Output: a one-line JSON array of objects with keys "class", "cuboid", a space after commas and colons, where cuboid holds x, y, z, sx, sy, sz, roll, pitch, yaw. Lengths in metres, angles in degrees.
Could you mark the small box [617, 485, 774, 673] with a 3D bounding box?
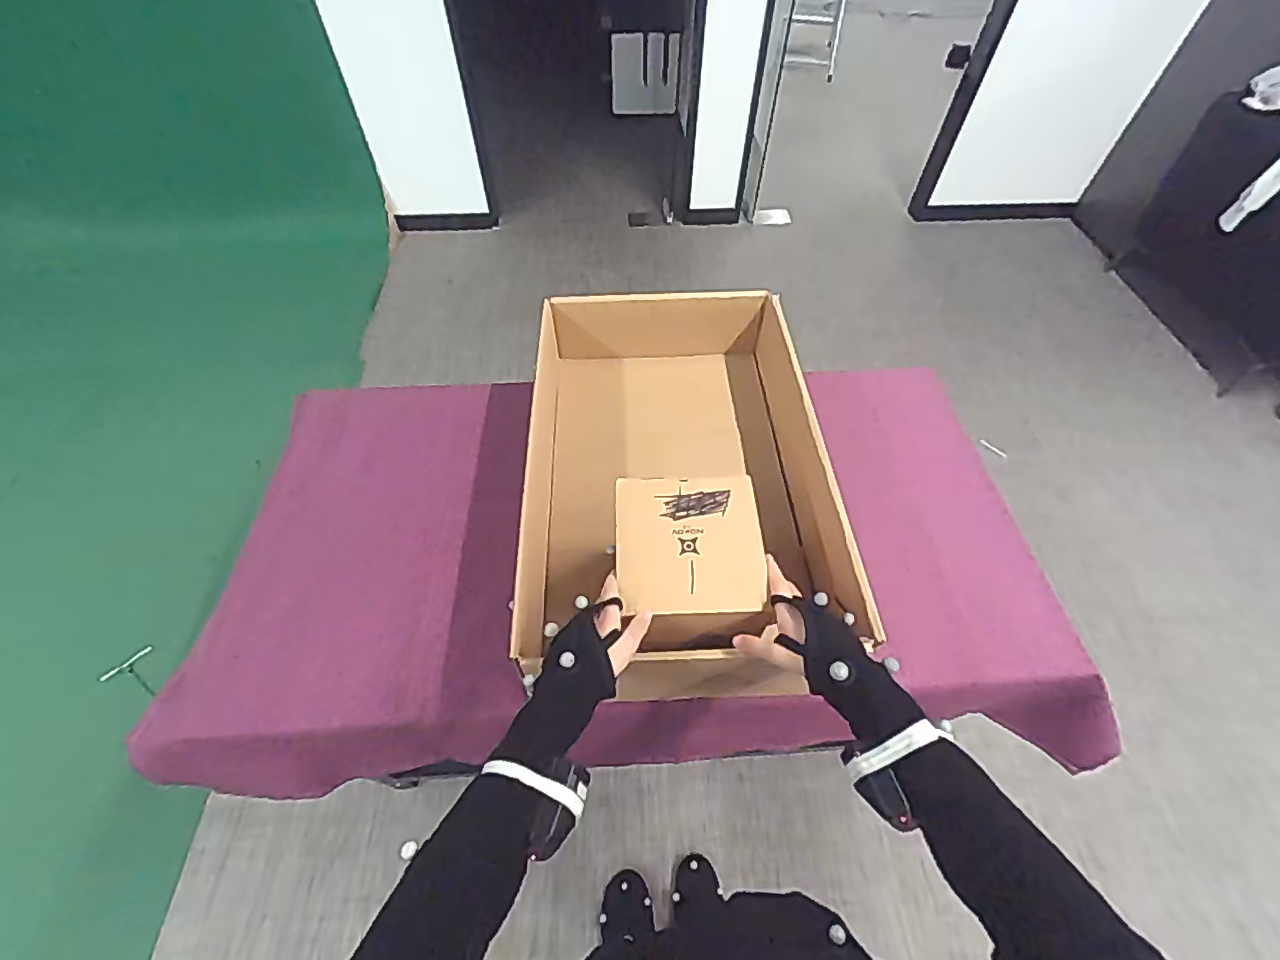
[{"class": "small box", "cuboid": [0.055, 0.125, 0.669, 0.168, 0.176, 0.179, -2, 54, -1]}]
